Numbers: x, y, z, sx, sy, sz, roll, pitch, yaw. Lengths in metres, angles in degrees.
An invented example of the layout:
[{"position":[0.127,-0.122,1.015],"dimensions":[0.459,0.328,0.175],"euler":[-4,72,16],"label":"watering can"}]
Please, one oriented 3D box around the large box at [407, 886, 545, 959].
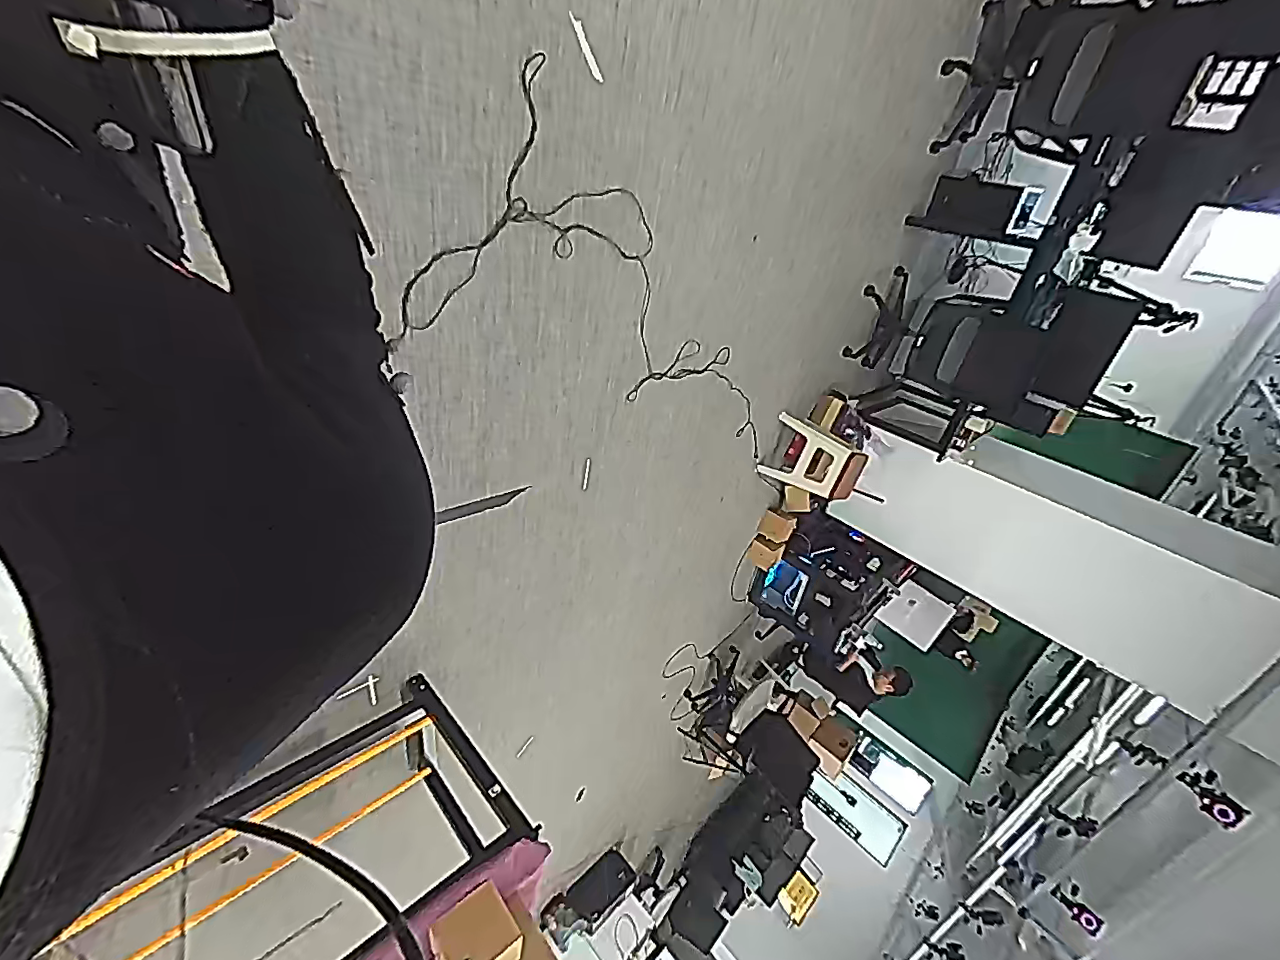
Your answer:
[{"position":[-0.464,1.514,1.572],"dimensions":[0.320,0.320,0.408],"euler":[-18,129,-41],"label":"large box"}]
